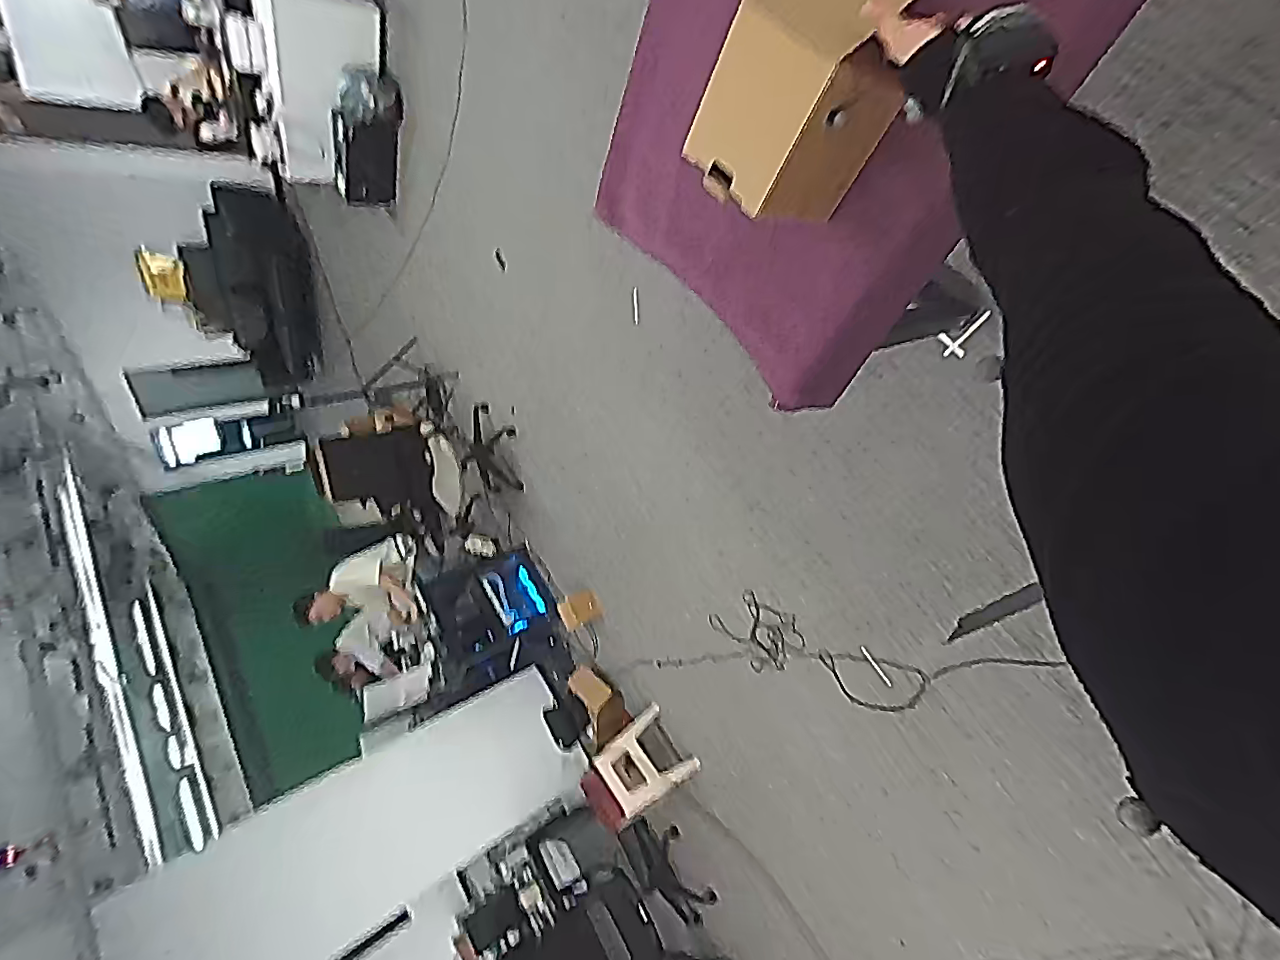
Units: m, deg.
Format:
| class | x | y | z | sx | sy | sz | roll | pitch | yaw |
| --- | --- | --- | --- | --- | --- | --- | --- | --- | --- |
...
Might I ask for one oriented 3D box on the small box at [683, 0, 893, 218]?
| class | x | y | z | sx | sy | sz | roll | pitch | yaw |
| --- | --- | --- | --- | --- | --- | --- | --- | --- | --- |
| small box | 0.193 | -0.467 | 0.700 | 0.168 | 0.176 | 0.179 | 55 | 141 | 22 |
